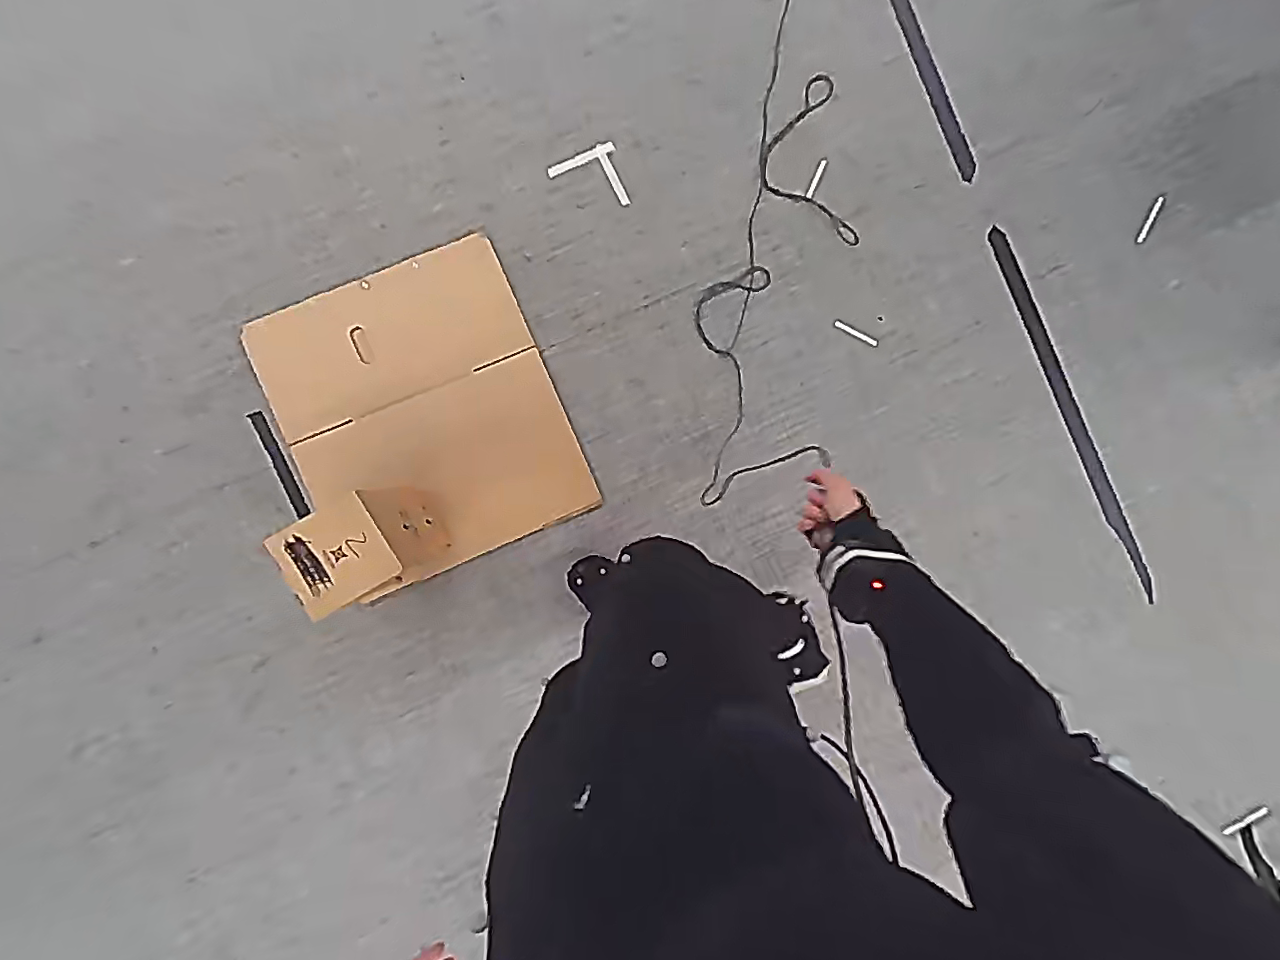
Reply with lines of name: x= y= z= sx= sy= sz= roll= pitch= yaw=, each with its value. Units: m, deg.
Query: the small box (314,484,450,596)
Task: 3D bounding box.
small box: x=-0.544 y=0.123 z=1.167 sx=0.179 sy=0.176 sz=0.168 roll=-34 pitch=93 yaw=-4
